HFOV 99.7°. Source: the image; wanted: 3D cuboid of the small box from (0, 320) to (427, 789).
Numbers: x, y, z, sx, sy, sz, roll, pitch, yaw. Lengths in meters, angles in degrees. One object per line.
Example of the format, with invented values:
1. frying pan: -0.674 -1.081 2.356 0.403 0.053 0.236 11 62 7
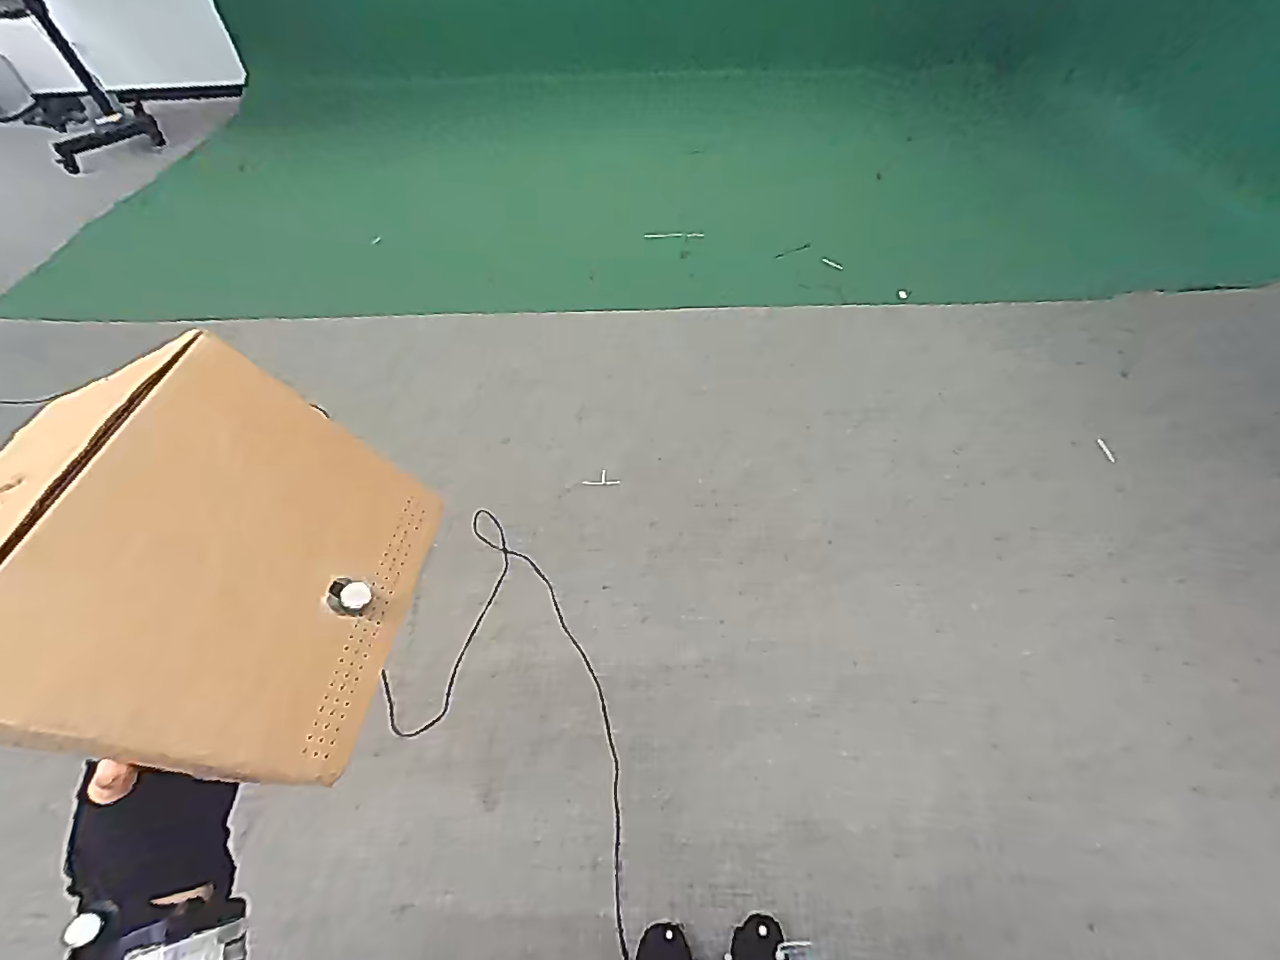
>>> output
1. small box: -0.250 0.052 0.295 0.168 0.176 0.179 -12 51 25
